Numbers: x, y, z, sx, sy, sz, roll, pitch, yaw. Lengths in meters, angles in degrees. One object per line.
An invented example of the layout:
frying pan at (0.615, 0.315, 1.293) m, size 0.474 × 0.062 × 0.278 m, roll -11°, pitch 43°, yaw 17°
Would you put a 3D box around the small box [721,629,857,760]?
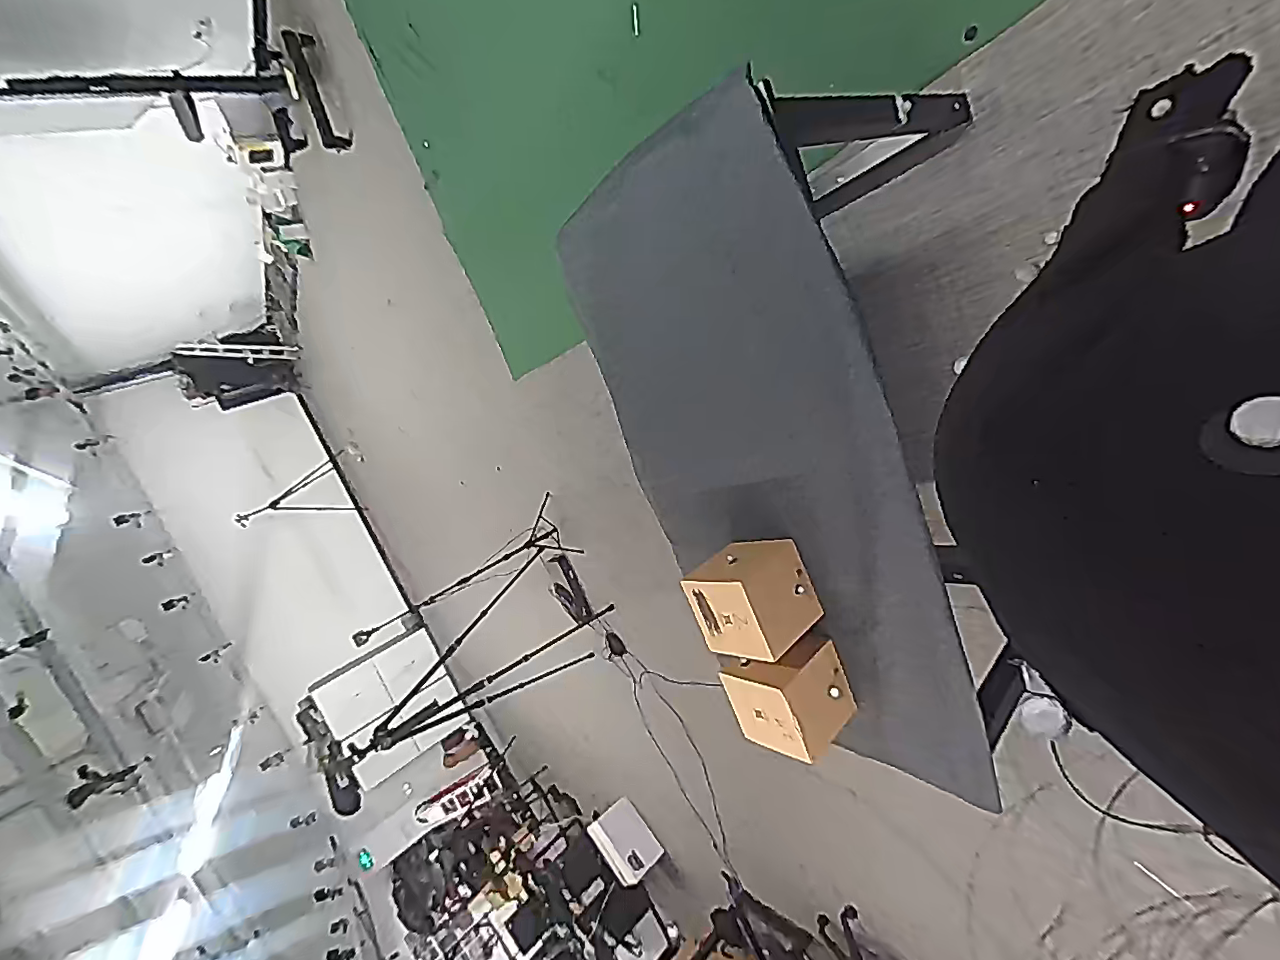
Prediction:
small box at (0.303, 0.422, 1.100) m, size 0.179 × 0.176 × 0.168 m, roll -10°, pitch 105°, yaw 55°
